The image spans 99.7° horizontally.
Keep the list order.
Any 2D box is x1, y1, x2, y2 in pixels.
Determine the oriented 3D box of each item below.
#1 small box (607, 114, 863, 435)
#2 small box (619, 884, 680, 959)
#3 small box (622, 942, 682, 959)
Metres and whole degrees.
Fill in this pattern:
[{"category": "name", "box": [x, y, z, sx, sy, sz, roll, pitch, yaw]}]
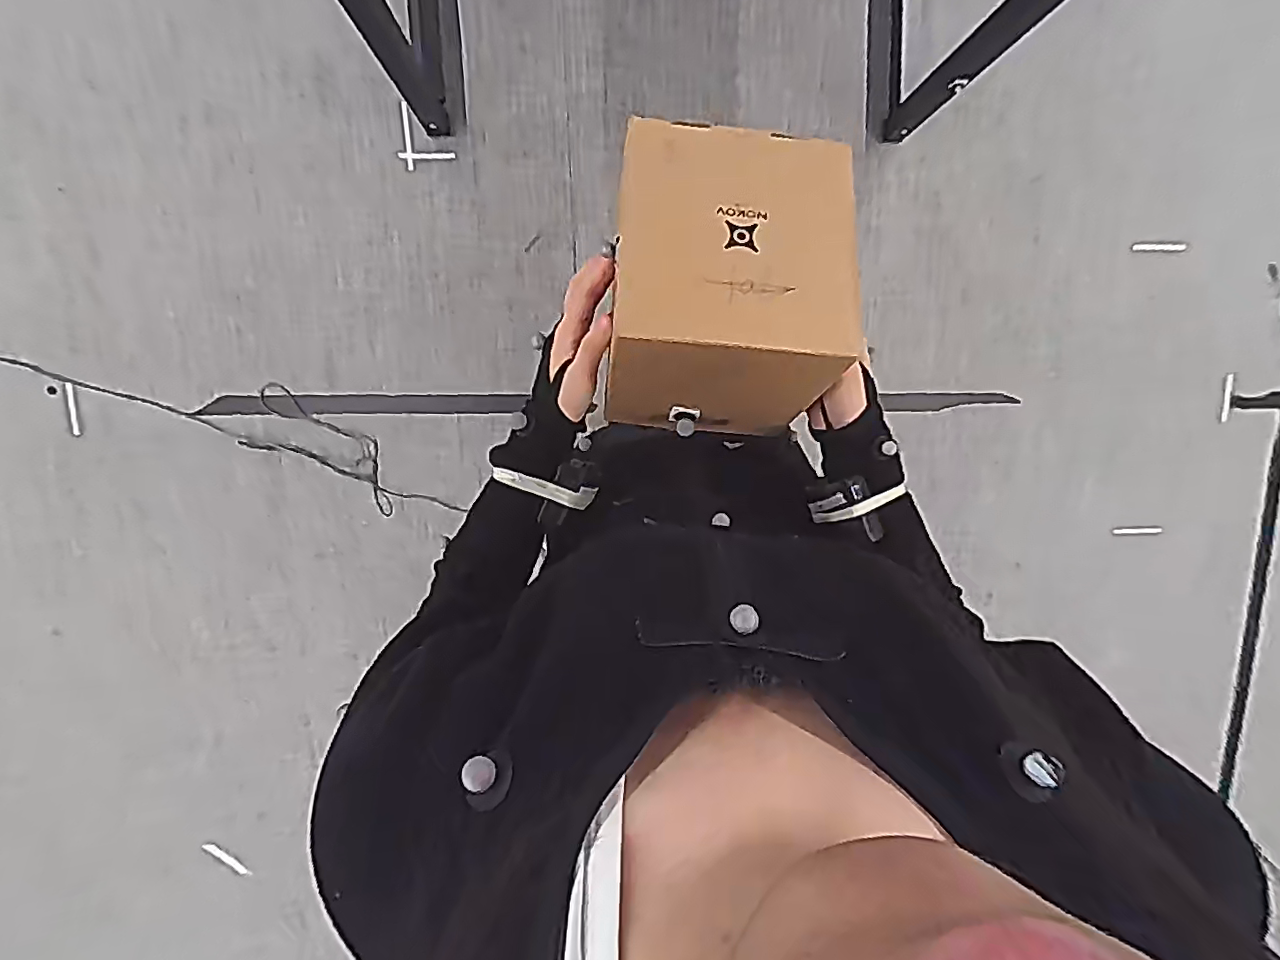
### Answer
[{"category": "small box", "box": [0.061, -0.150, 0.444, 0.168, 0.176, 0.179, 3, 76, -4]}, {"category": "small box", "box": [0.023, 1.364, 1.624, 0.168, 0.176, 0.179, 1, 99, -5]}, {"category": "small box", "box": [0.039, 1.400, 1.465, 0.168, 0.176, 0.179, -2, 100, -4]}]
